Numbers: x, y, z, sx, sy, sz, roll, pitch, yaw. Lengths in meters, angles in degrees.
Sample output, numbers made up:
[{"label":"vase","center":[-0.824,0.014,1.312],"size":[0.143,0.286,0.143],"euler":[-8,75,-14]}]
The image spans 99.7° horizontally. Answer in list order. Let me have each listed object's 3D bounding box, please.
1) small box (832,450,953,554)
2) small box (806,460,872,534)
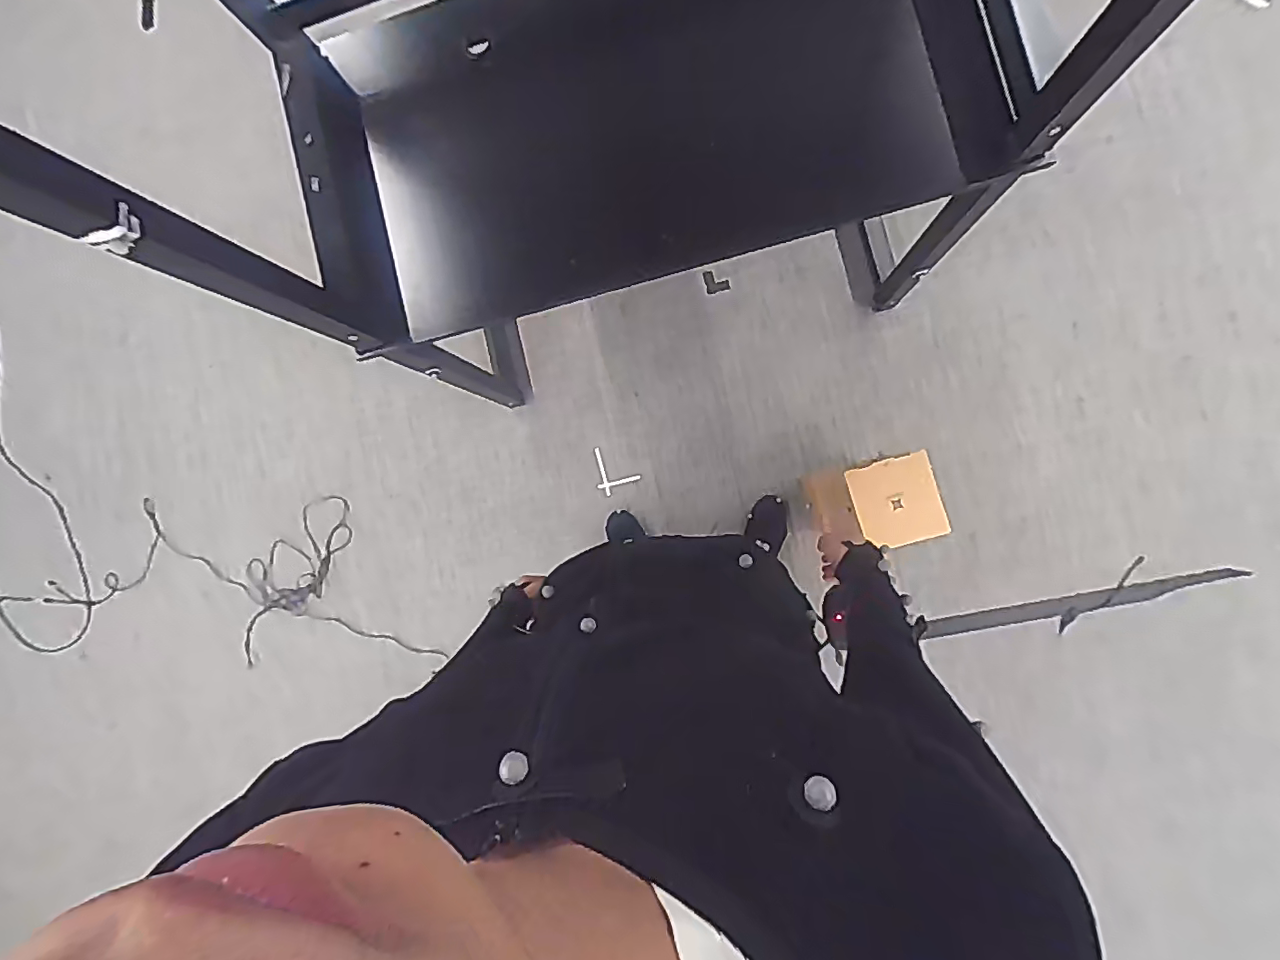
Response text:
[{"label":"small box","center":[0.529,0.043,1.155],"size":[0.168,0.176,0.179],"euler":[-17,87,8]},{"label":"small box","center":[0.571,0.043,1.480],"size":[0.179,0.176,0.168],"euler":[-15,87,8]}]
